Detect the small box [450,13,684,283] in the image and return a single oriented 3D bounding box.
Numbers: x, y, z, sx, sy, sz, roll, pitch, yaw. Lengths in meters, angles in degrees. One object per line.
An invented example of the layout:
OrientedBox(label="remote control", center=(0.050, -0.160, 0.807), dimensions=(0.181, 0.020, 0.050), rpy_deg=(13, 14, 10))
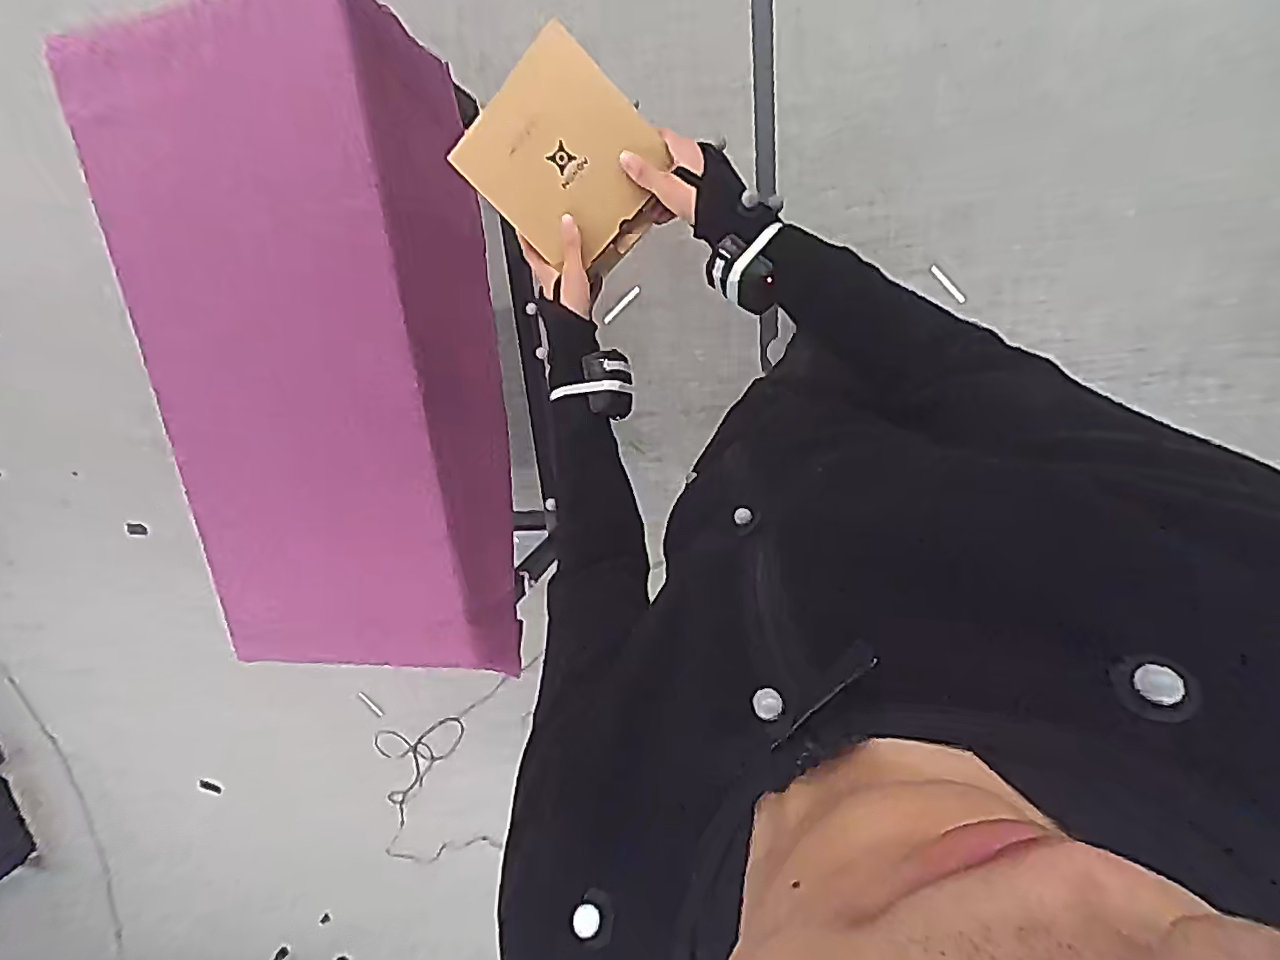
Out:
OrientedBox(label="small box", center=(-0.069, -0.346, 0.608), dimensions=(0.168, 0.176, 0.179), rpy_deg=(-43, 102, 13))
